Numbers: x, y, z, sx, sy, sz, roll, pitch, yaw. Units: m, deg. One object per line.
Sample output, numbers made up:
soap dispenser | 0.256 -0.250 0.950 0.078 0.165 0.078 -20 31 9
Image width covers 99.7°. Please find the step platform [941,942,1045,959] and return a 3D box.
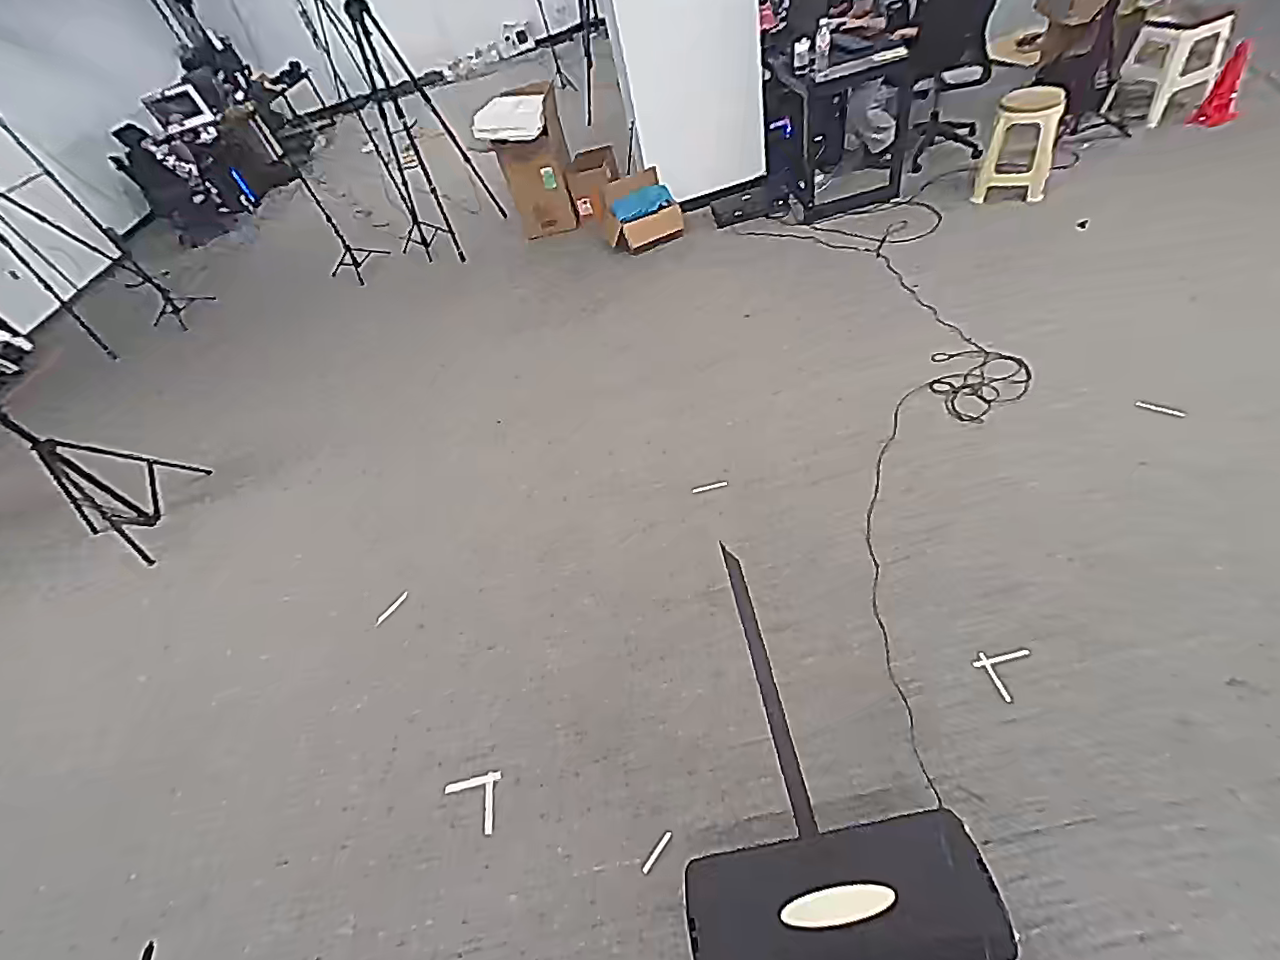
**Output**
step platform | 0.479 1.102 1.000 0.684 0.204 0.286 -16 46 4
